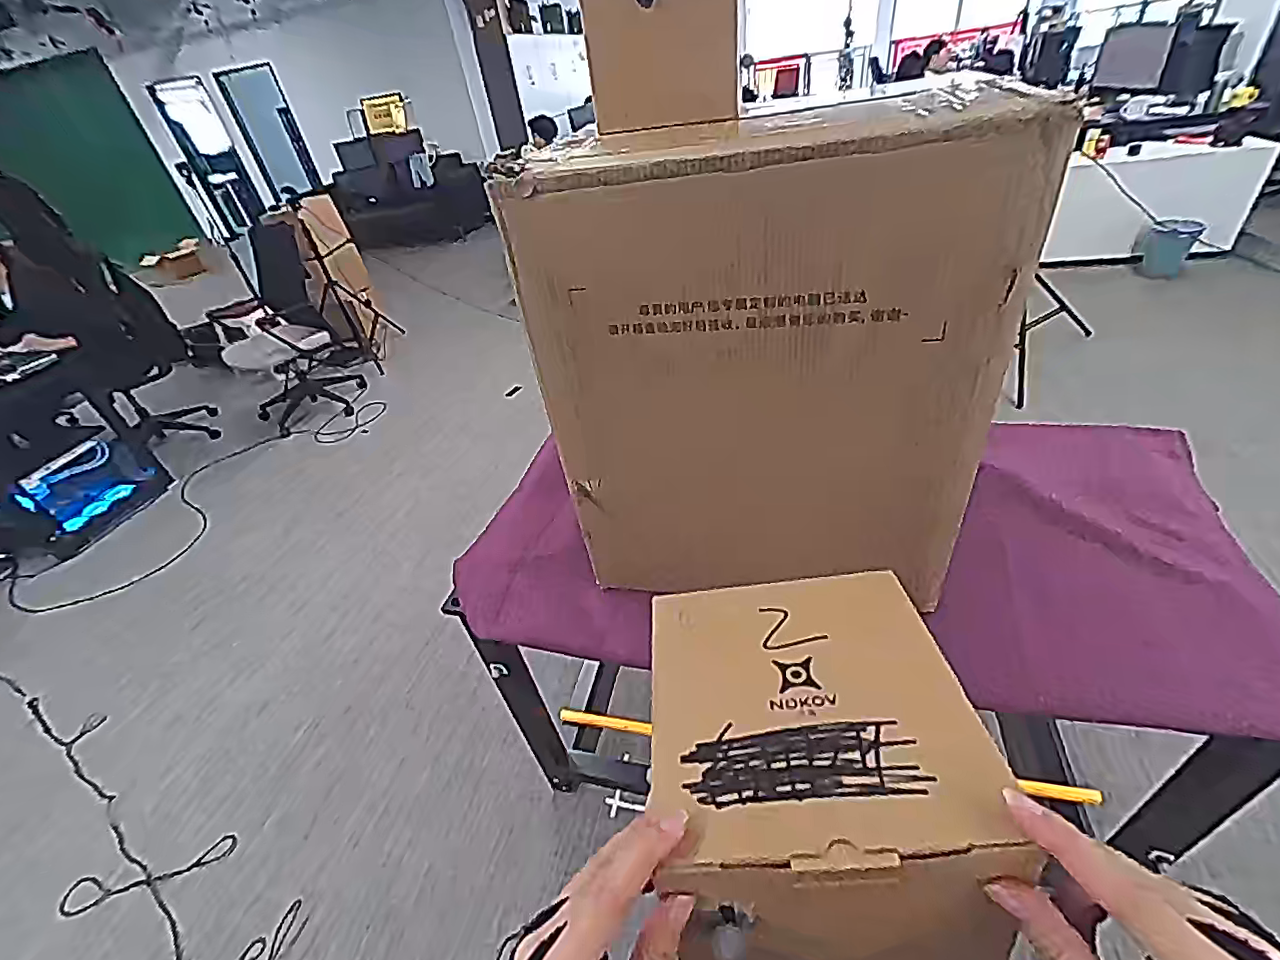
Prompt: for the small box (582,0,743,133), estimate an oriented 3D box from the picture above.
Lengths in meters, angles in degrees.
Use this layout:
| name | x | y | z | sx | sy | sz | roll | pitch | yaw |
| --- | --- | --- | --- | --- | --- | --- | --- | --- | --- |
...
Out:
| name | x | y | z | sx | sy | sz | roll | pitch | yaw |
| --- | --- | --- | --- | --- | --- | --- | --- | --- | --- |
| small box | 0.035 | -0.542 | 0.668 | 0.179 | 0.176 | 0.168 | 1 | 39 | 12 |
